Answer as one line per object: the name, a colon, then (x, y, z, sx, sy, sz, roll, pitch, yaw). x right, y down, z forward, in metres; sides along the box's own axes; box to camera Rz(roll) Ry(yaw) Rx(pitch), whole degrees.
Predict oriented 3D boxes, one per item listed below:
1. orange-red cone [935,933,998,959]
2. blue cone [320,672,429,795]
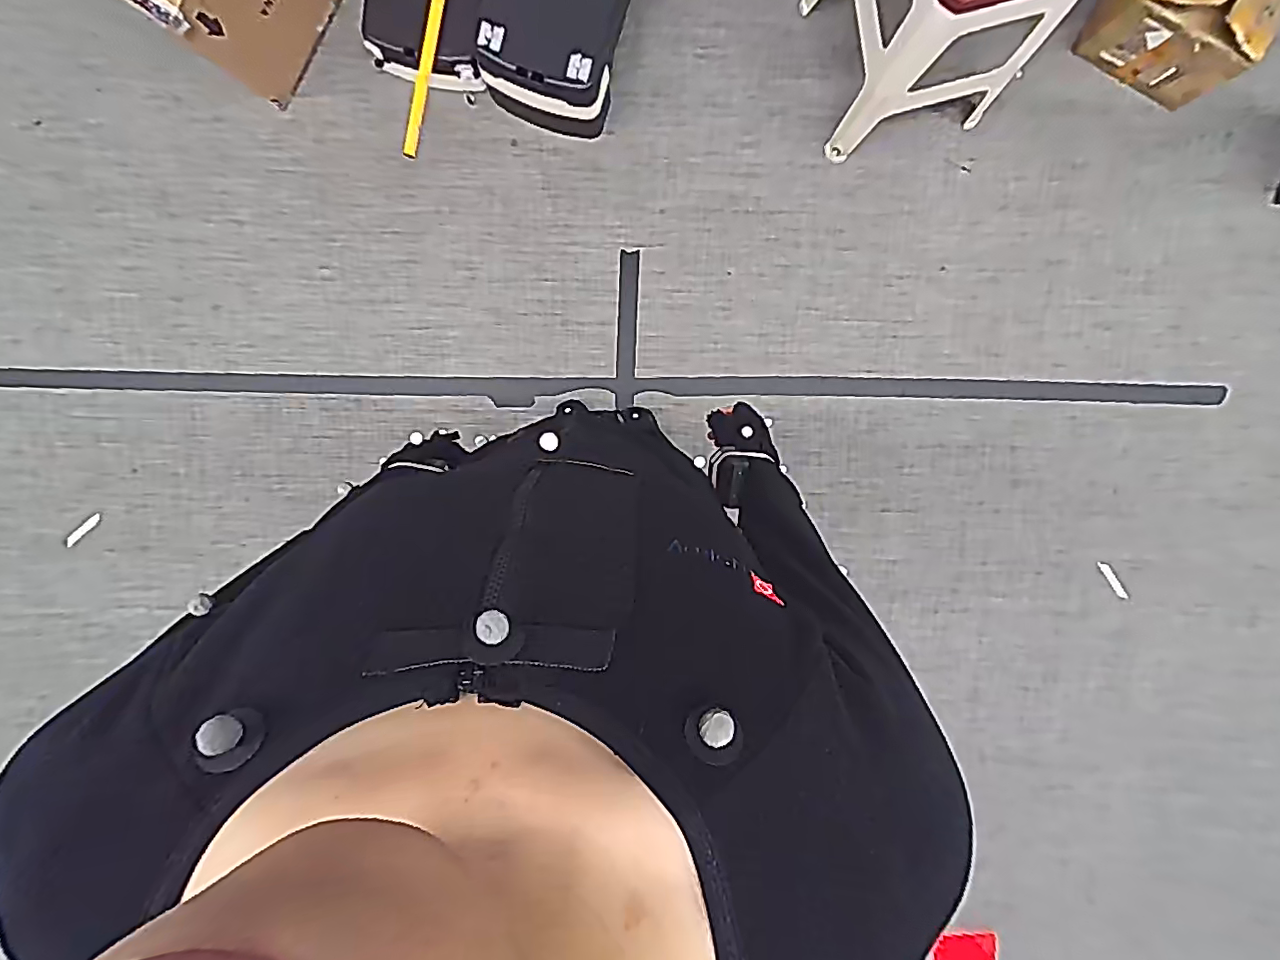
orange-red cone: (1.030, 1.542, 1.539, 0.198, 0.360, 0.199, -3, 98, 0)
blue cone: (-0.723, 0.679, 1.417, 0.192, 0.380, 0.193, -3, 99, 1)
